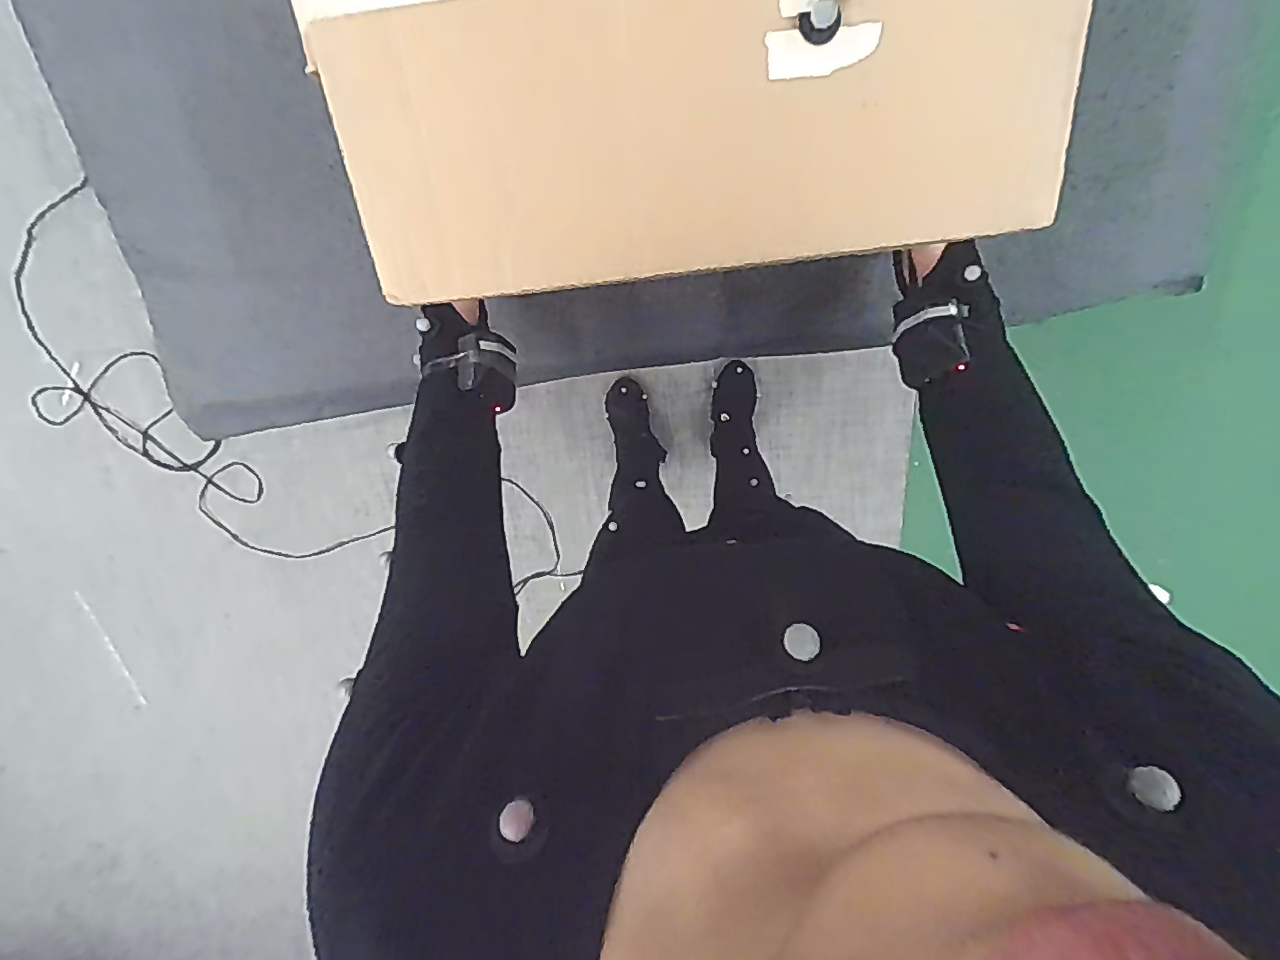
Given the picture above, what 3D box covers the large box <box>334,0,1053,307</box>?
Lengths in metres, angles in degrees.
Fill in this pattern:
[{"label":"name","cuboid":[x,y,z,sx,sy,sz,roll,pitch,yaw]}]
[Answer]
[{"label":"large box","cuboid":[0.026,-0.331,0.434,0.408,0.320,0.320,-6,111,3]}]
